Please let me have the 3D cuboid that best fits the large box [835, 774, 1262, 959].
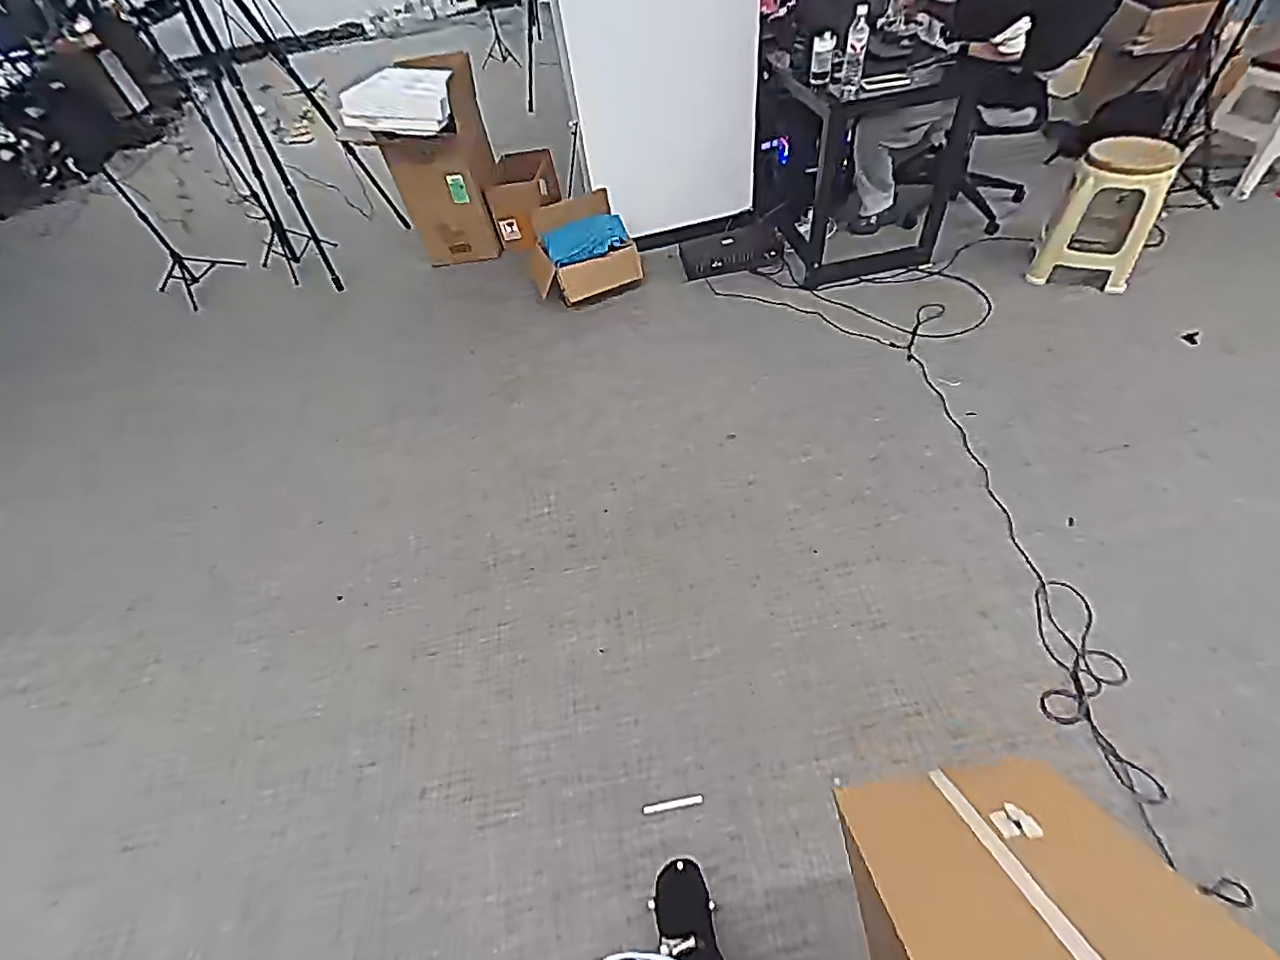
[{"bbox_3d":[0.474,0.629,0.645,0.320,0.408,0.320,-10,89,4],"label":"large box"}]
